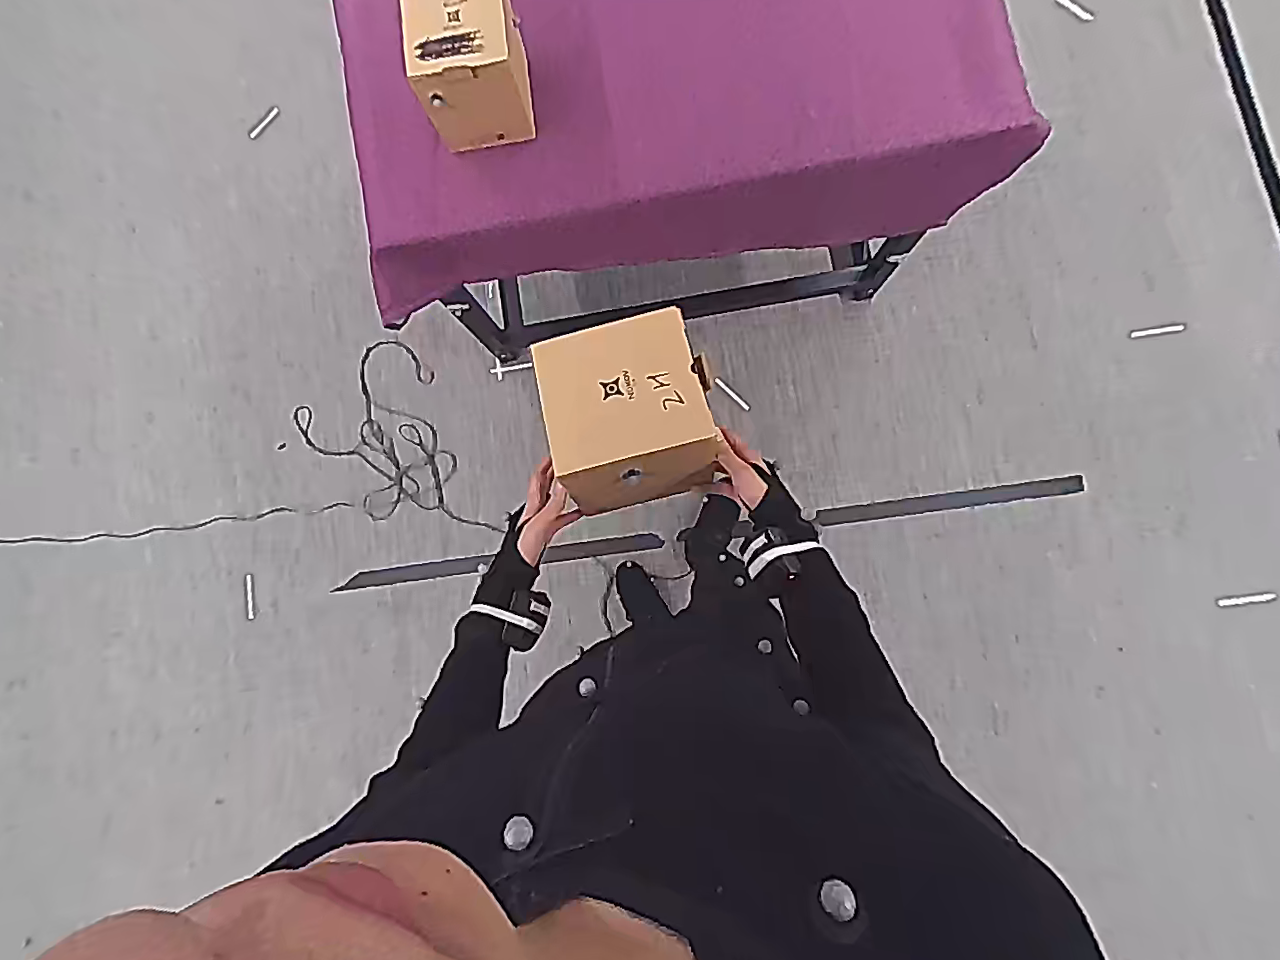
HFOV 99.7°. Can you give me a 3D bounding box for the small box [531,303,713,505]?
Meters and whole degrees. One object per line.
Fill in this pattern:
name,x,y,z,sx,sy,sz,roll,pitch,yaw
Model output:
small box,-0.015,-0.080,0.660,0.179,0.176,0.168,-14,71,1
